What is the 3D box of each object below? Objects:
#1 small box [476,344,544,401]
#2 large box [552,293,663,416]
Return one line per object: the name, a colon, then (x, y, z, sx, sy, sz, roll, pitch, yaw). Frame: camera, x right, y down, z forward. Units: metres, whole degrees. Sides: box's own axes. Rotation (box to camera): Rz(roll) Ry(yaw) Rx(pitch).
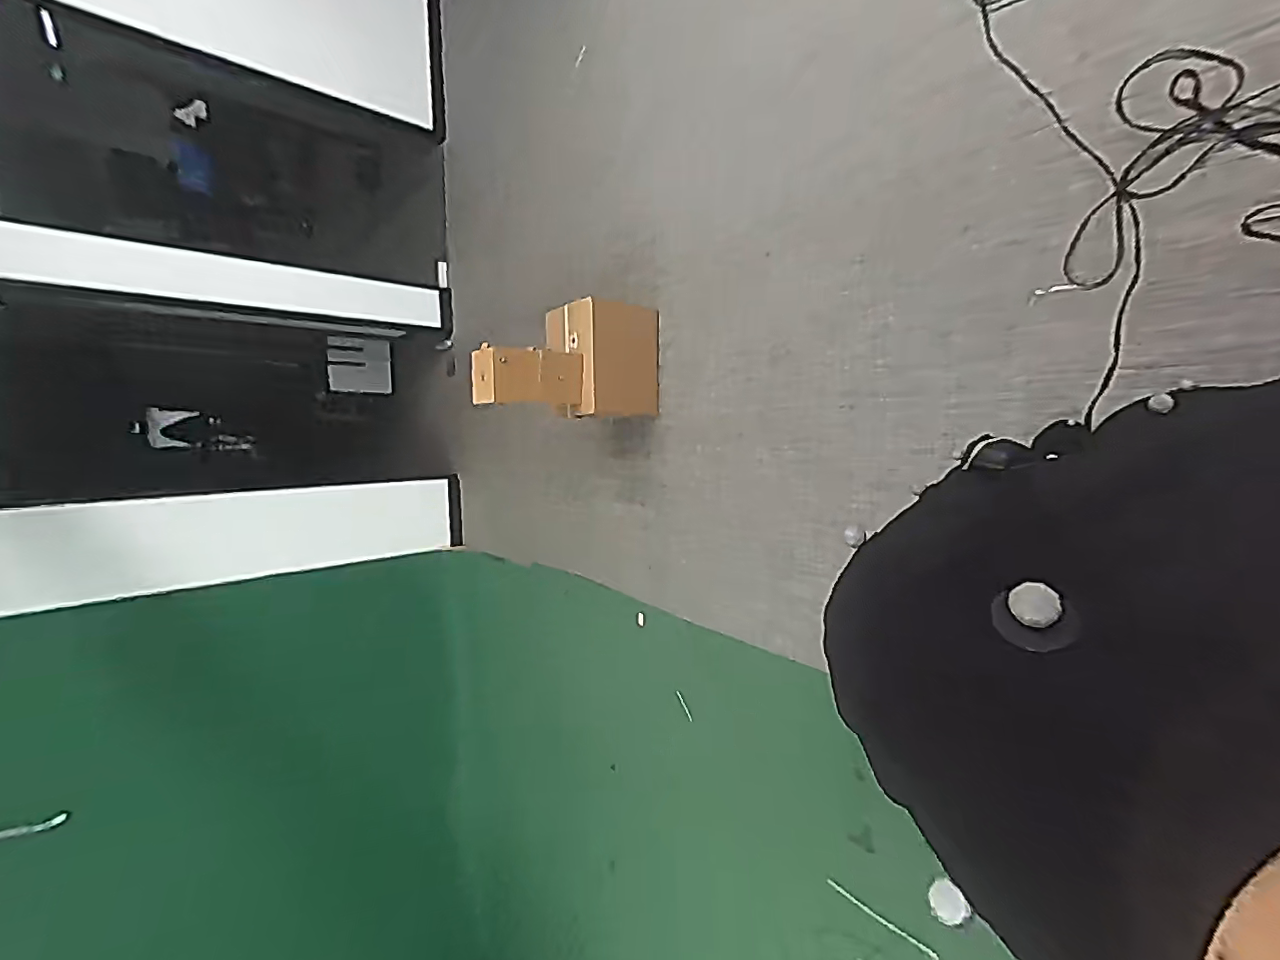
small box: (-0.433, -0.354, 1.809, 0.168, 0.176, 0.179, 7, 99, 50)
large box: (-0.124, -0.456, 2.066, 0.320, 0.320, 0.408, 5, 96, 49)
